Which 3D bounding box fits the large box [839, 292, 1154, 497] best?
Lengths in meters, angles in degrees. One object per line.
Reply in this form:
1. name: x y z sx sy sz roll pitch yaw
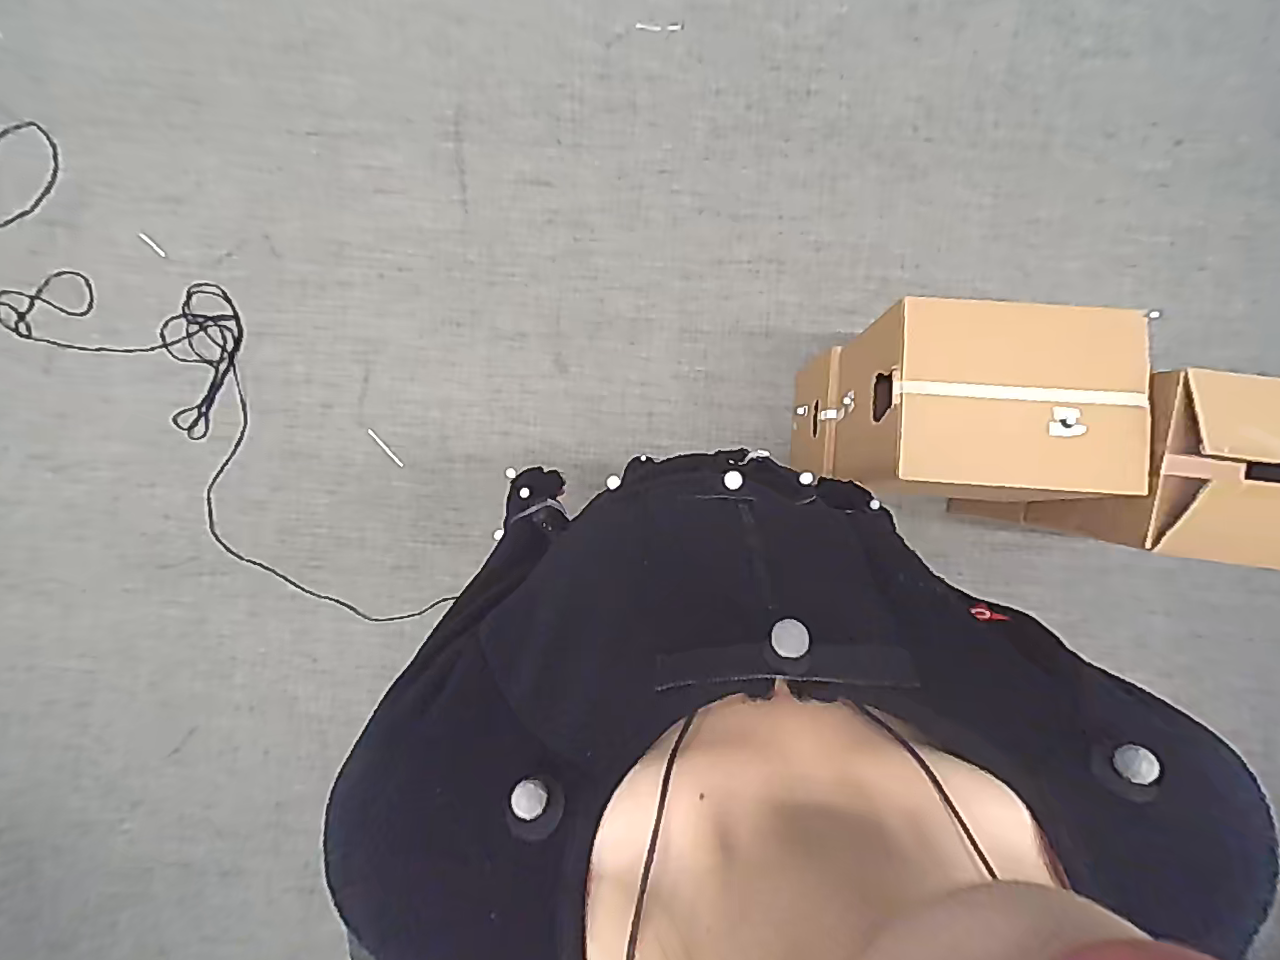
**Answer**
1. large box: 0.628 -0.136 1.023 0.408 0.320 0.320 4 87 1
